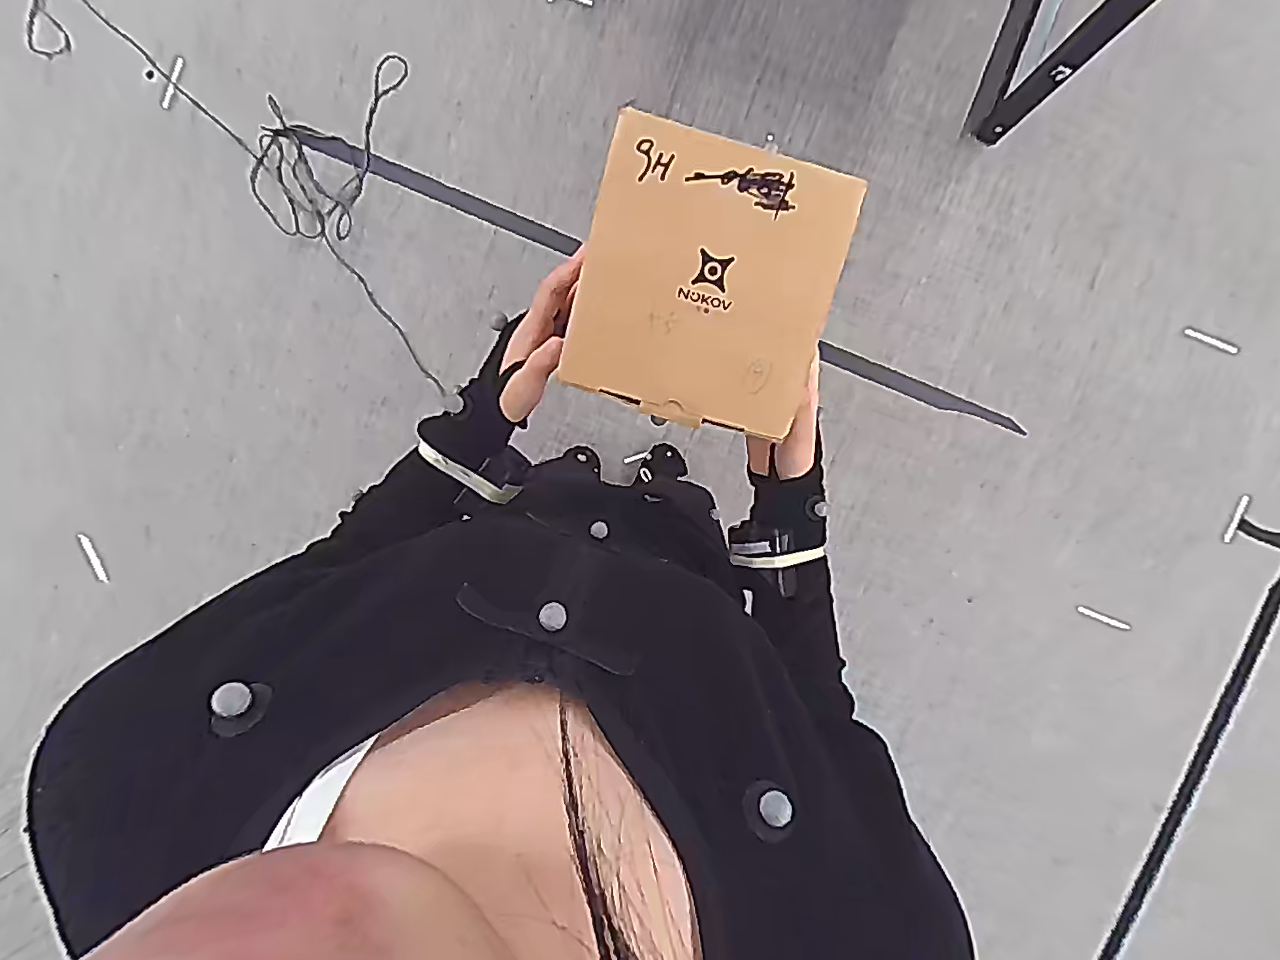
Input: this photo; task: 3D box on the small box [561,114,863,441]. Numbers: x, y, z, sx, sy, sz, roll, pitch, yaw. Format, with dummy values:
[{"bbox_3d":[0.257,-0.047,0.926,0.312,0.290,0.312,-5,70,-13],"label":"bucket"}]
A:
[{"bbox_3d":[0.045,-0.145,0.440,0.168,0.176,0.179,15,101,-4],"label":"small box"}]
